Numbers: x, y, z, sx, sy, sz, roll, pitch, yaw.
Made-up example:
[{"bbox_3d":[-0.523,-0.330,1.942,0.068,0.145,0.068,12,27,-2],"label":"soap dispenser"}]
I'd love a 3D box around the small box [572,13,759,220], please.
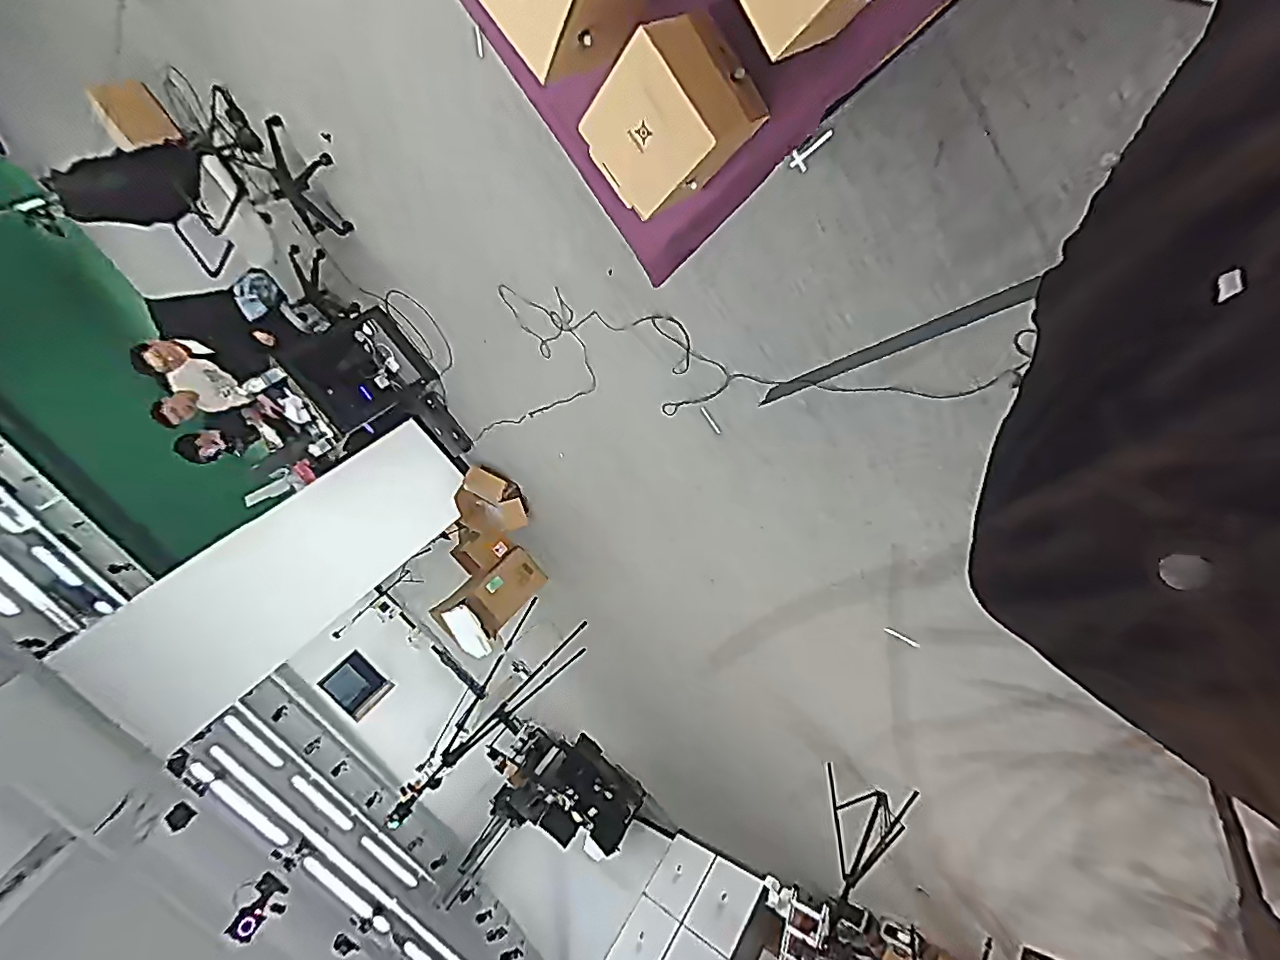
[{"bbox_3d":[0.040,-0.527,0.791,0.168,0.176,0.179,51,146,-13],"label":"small box"}]

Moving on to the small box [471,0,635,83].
[{"bbox_3d":[-0.114,-0.708,0.749,0.168,0.176,0.179,50,146,-11],"label":"small box"}]
